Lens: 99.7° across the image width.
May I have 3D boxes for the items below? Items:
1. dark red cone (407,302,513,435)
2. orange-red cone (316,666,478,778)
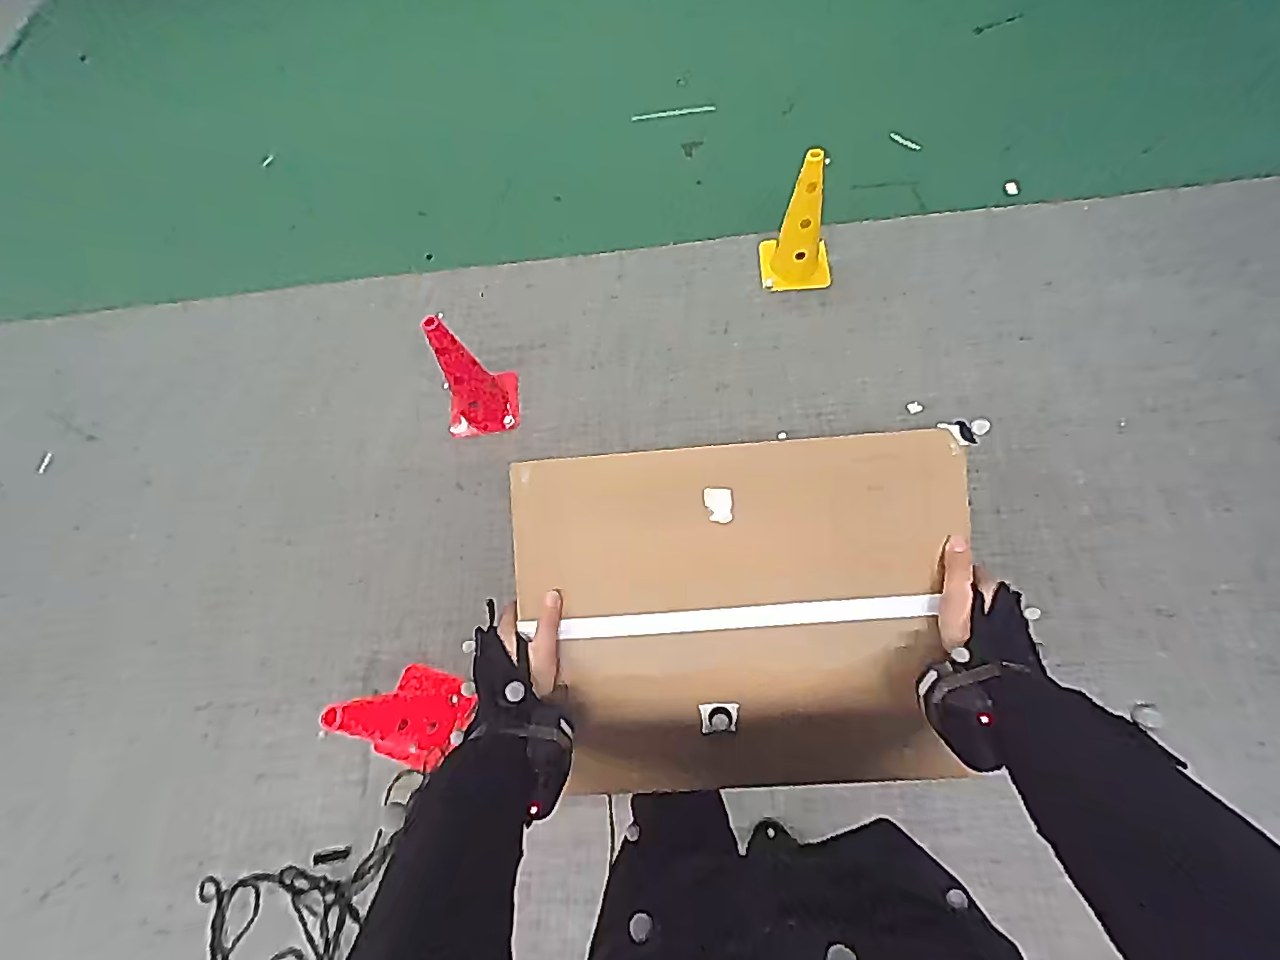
[{"bbox_3d":[-0.479,-0.300,1.395,0.202,0.394,0.201,-12,62,3],"label":"dark red cone"},{"bbox_3d":[-0.508,0.469,1.069,0.199,0.360,0.198,13,67,15],"label":"orange-red cone"}]
